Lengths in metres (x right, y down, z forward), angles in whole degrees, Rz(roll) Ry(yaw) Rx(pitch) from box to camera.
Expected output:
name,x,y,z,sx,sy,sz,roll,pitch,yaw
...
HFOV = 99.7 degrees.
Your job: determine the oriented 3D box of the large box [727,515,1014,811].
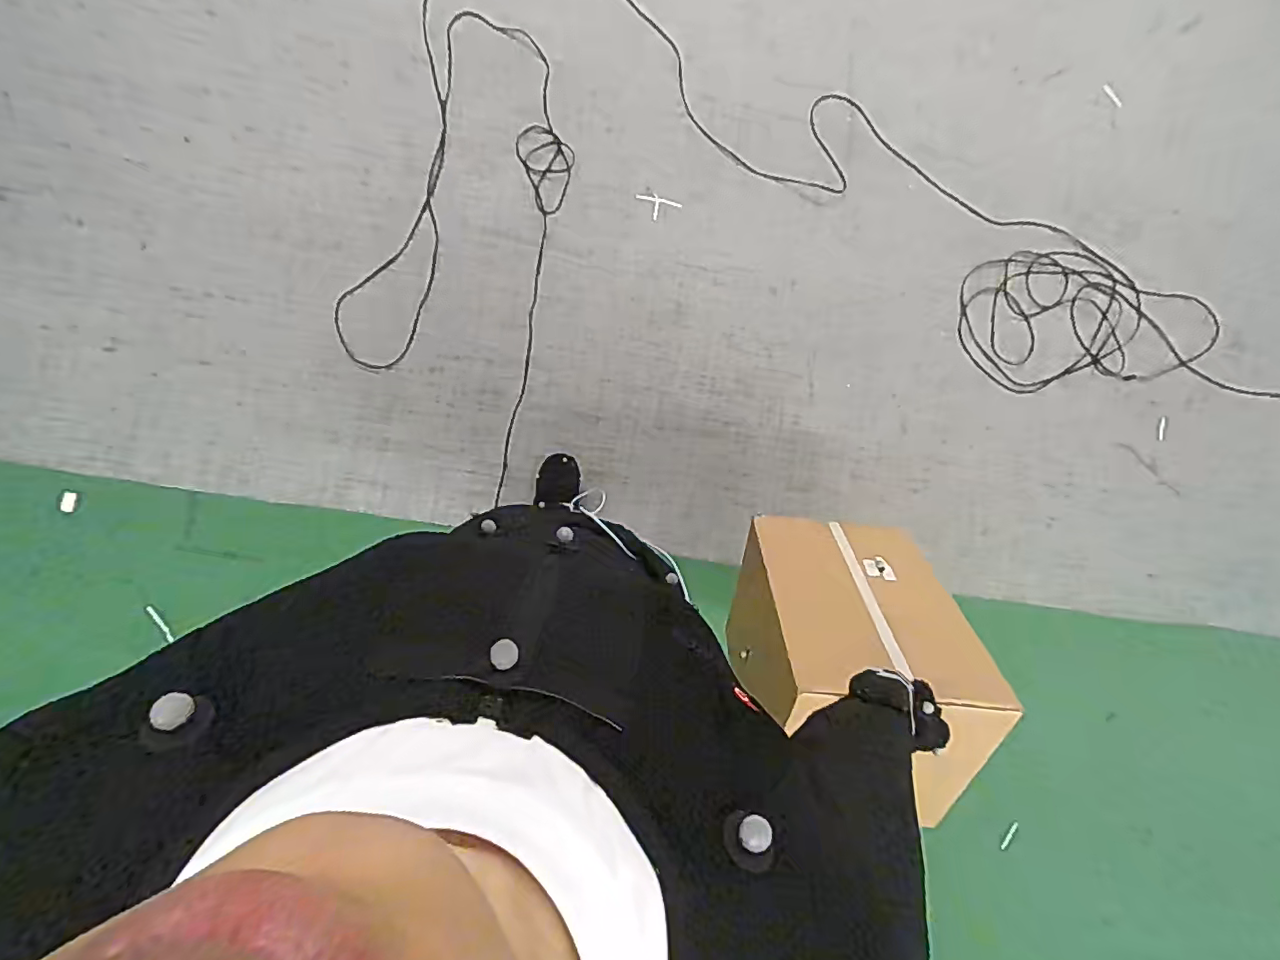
name,x,y,z,sx,sy,sz,roll,pitch,yaw
large box,0.356,0.313,0.981,0.320,0.408,0.320,7,121,-2
